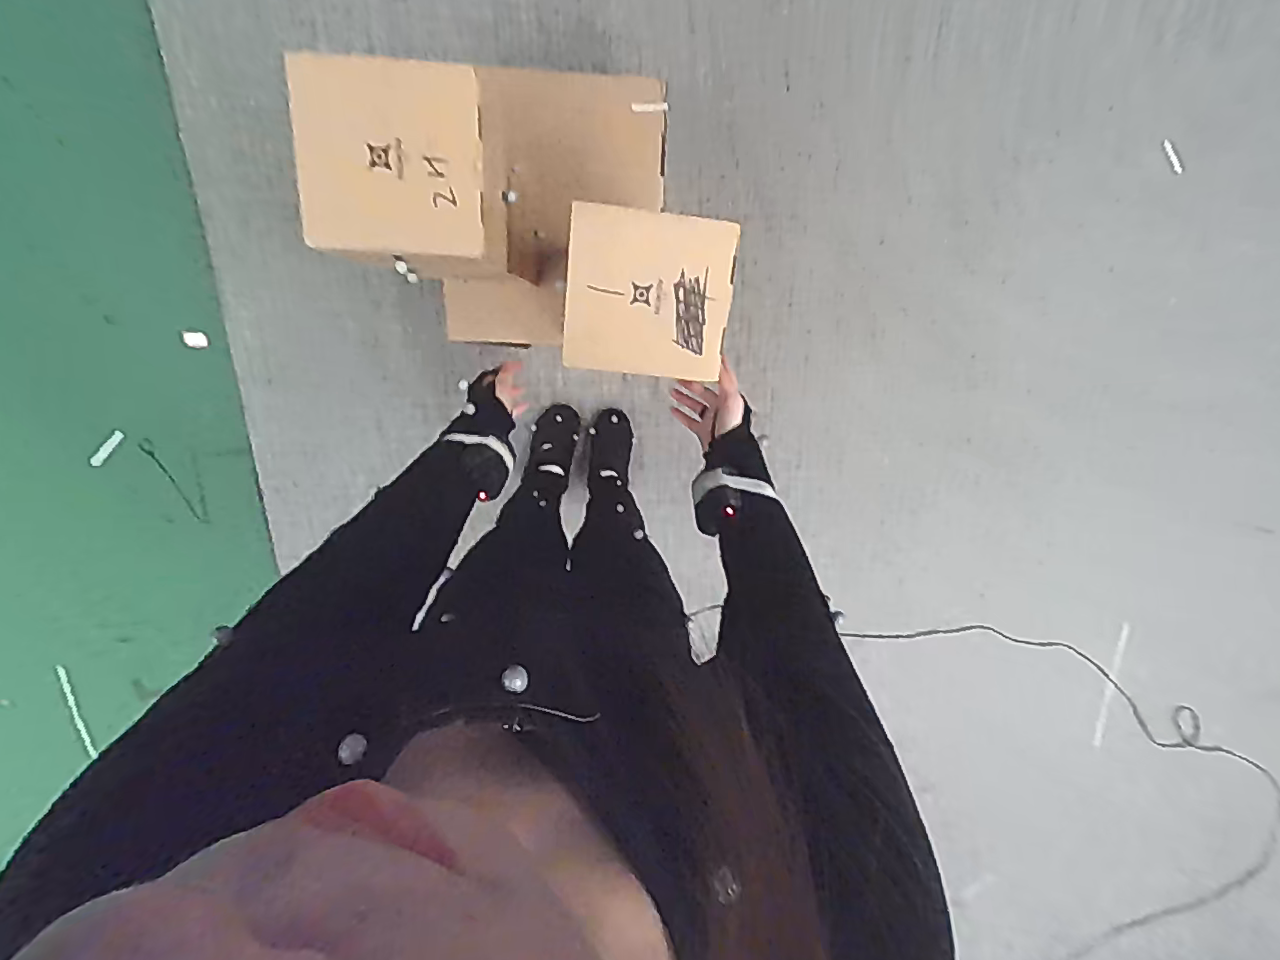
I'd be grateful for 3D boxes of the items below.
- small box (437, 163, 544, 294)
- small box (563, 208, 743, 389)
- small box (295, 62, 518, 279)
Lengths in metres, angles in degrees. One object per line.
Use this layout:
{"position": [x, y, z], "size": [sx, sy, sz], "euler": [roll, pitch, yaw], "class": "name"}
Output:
{"position": [-0.256, -0.419, 0.909], "size": [0.168, 0.176, 0.179], "euler": [4, 104, -4], "class": "small box"}
{"position": [0.005, -0.209, 0.644], "size": [0.179, 0.176, 0.168], "euler": [5, 105, -6], "class": "small box"}
{"position": [-0.237, -0.319, 0.594], "size": [0.179, 0.176, 0.168], "euler": [2, 105, -3], "class": "small box"}
